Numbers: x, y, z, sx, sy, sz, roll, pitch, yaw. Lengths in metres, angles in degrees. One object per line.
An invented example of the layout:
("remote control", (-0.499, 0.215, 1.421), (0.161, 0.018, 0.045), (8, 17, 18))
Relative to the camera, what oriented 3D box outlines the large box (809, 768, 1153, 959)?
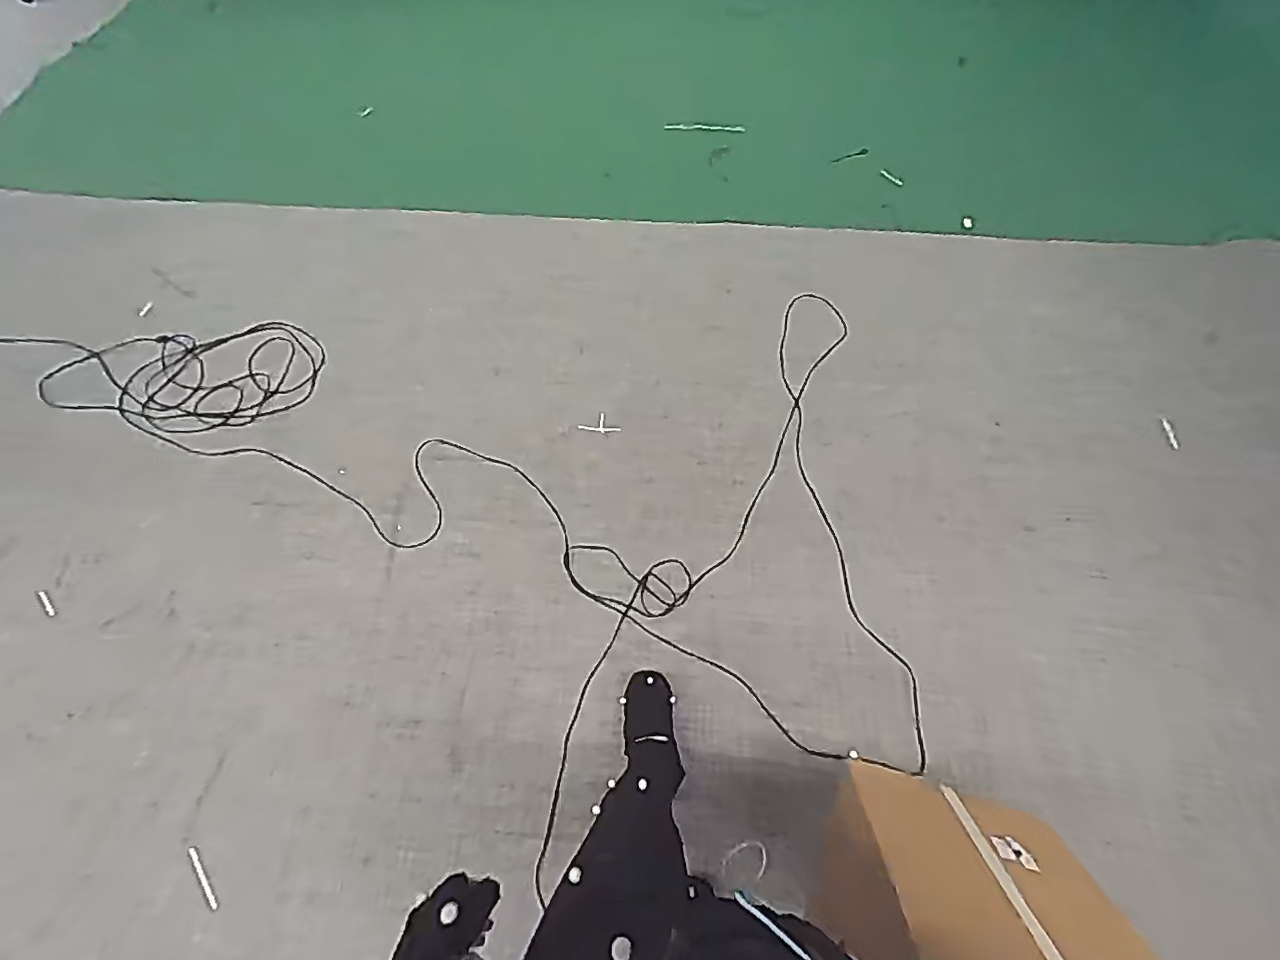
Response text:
("large box", (0.437, 0.678, 0.716), (0.320, 0.408, 0.320), (14, 94, 9))
